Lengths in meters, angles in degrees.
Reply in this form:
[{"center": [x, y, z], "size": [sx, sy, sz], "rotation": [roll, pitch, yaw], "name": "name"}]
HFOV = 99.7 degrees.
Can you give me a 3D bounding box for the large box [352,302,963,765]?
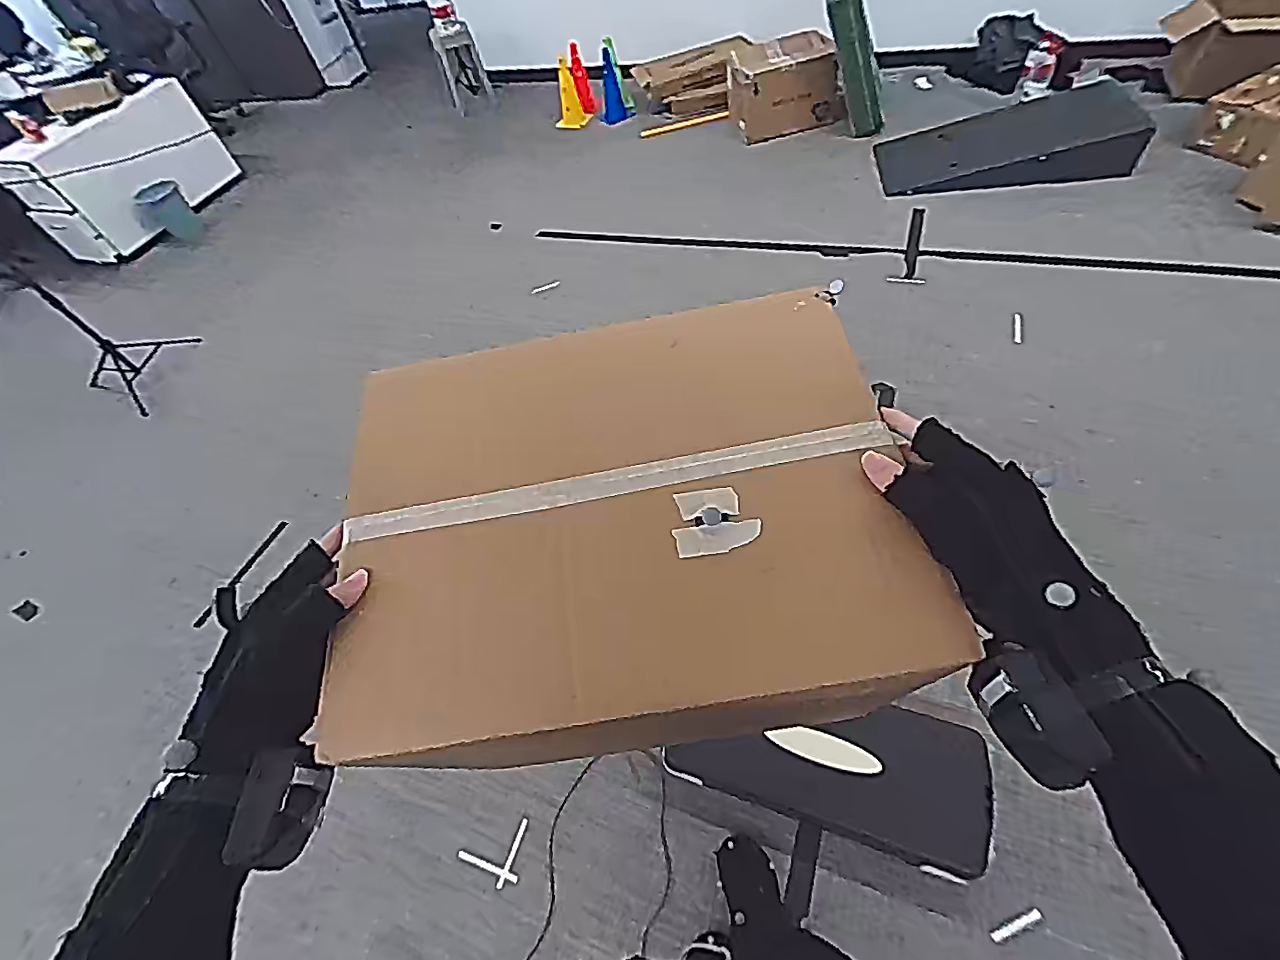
[{"center": [0.003, 0.079, 0.542], "size": [0.408, 0.320, 0.320], "rotation": [-10, 61, 2], "name": "large box"}]
